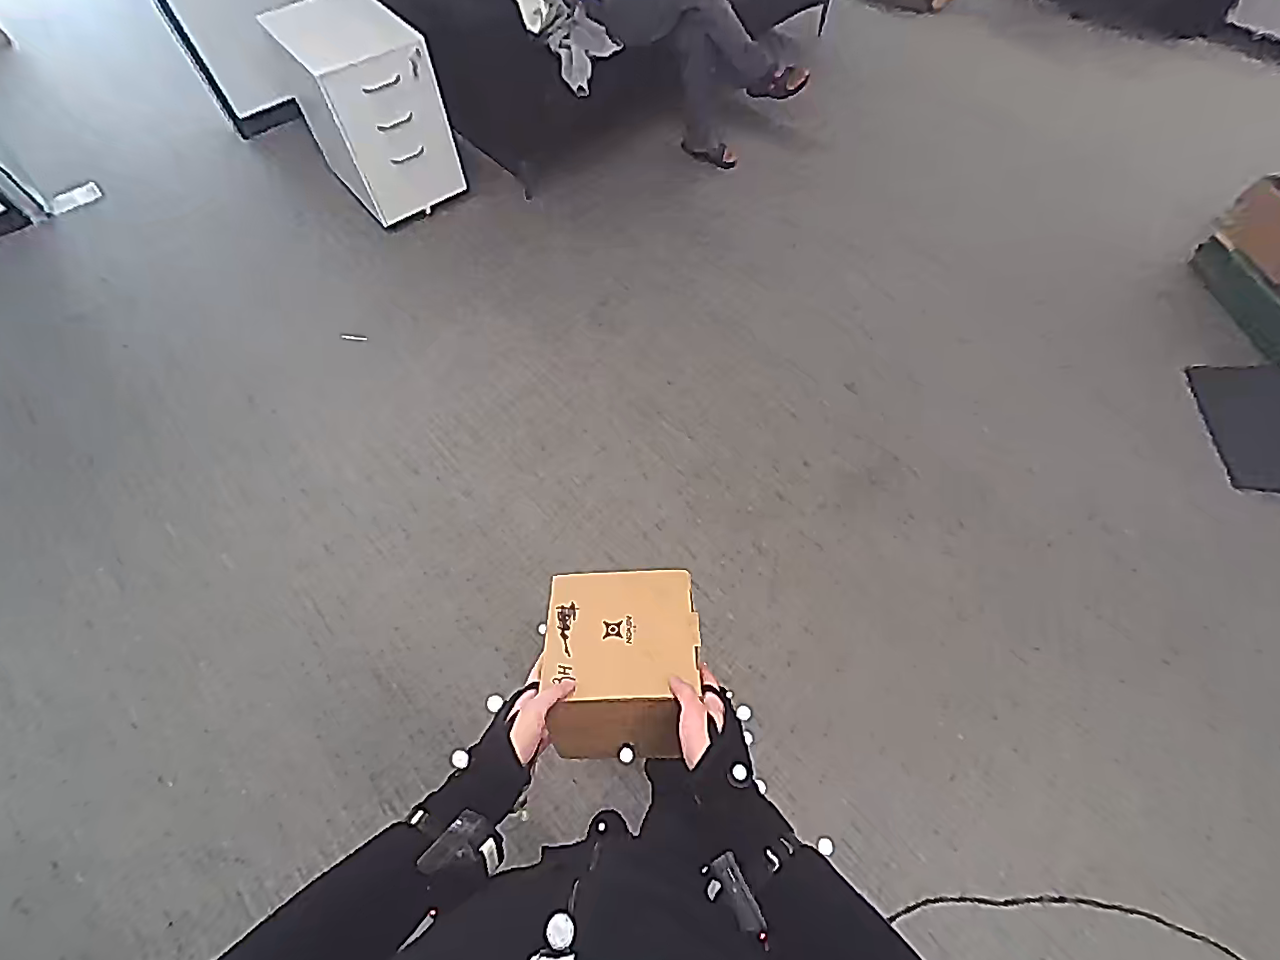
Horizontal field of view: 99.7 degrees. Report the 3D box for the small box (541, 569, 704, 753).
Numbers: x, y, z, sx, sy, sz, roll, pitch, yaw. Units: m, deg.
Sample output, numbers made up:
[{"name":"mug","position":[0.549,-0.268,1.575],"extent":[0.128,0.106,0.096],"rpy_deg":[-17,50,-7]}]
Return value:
[{"name":"small box","position":[-0.018,0.230,0.685],"extent":[0.179,0.176,0.168],"rpy_deg":[-1,43,0]}]
